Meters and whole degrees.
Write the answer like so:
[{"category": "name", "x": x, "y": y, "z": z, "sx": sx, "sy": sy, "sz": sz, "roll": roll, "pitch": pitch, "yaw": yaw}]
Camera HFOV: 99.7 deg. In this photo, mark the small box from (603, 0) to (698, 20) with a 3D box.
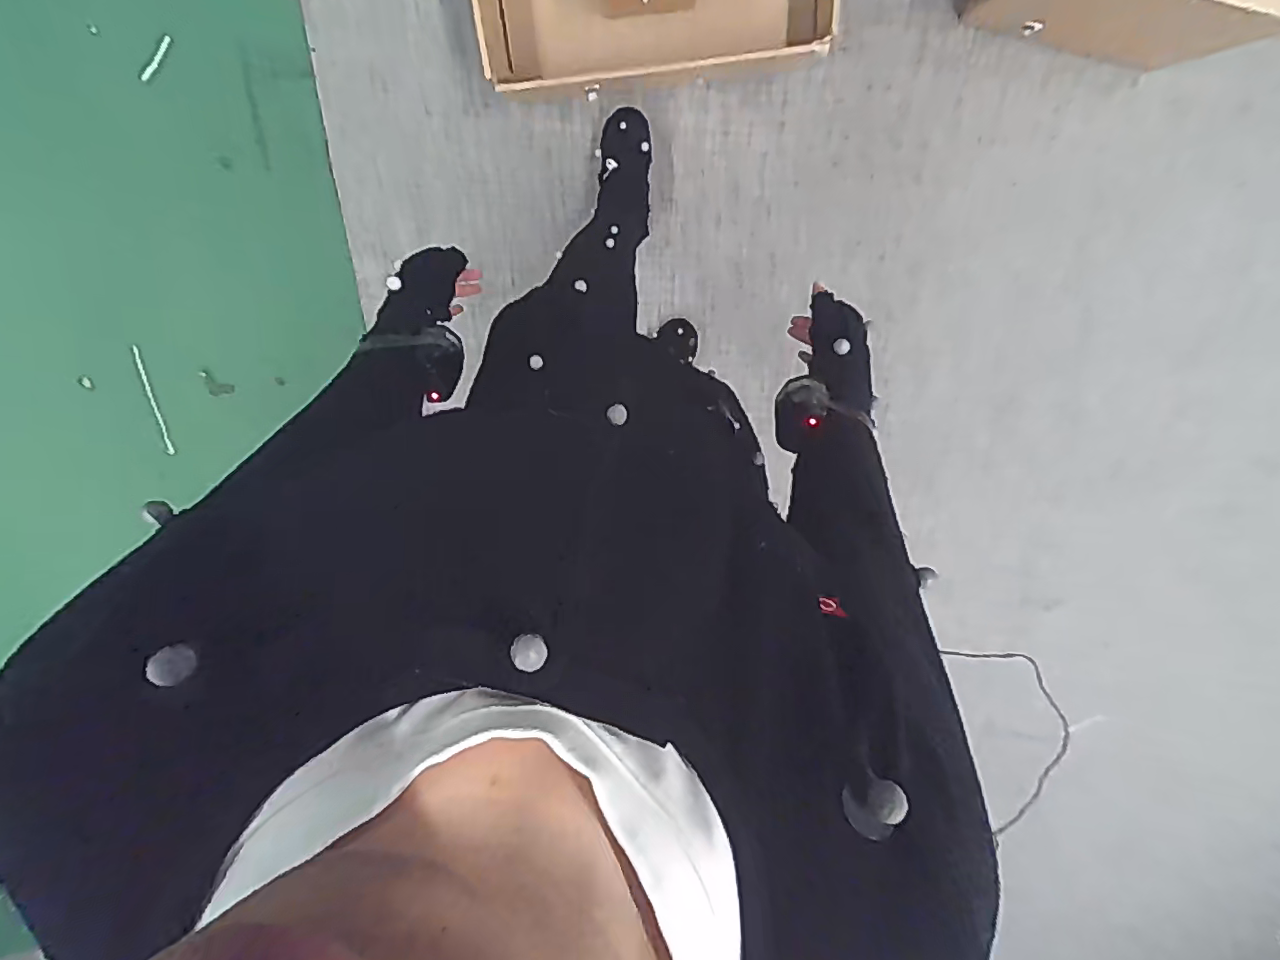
[{"category": "small box", "x": 0.014, "y": -0.919, "z": 0.924, "sx": 0.179, "sy": 0.176, "sz": 0.168, "roll": -3, "pitch": 117, "yaw": 4}]
